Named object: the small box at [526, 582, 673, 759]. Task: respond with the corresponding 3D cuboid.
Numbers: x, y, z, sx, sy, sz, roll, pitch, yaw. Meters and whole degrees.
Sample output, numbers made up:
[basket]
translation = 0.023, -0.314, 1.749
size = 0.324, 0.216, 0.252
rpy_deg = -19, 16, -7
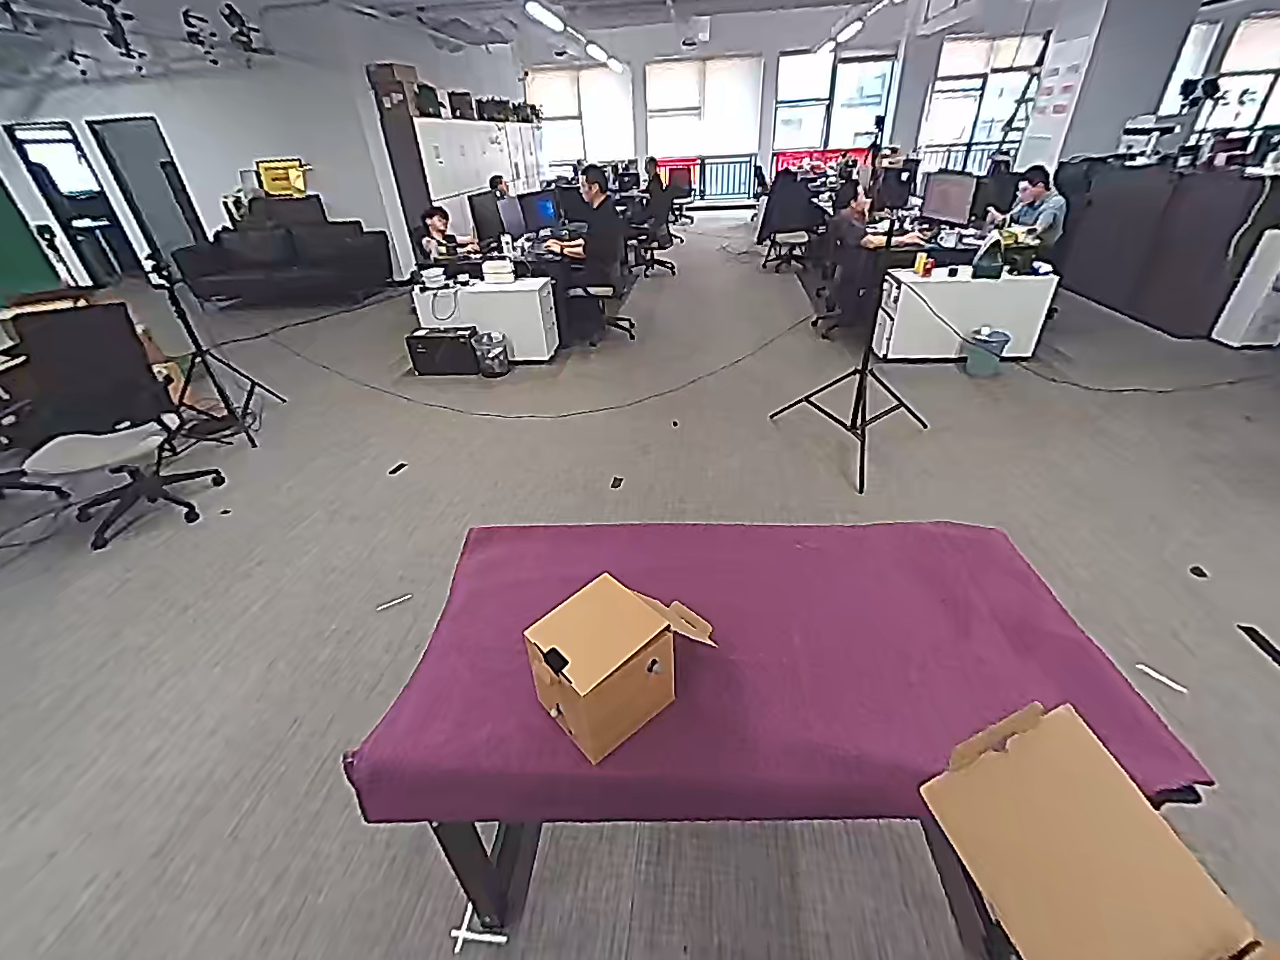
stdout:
[small box]
translation = -0.062, 0.308, 0.891
size = 0.179, 0.176, 0.168
rpy_deg = -27, 37, -32
